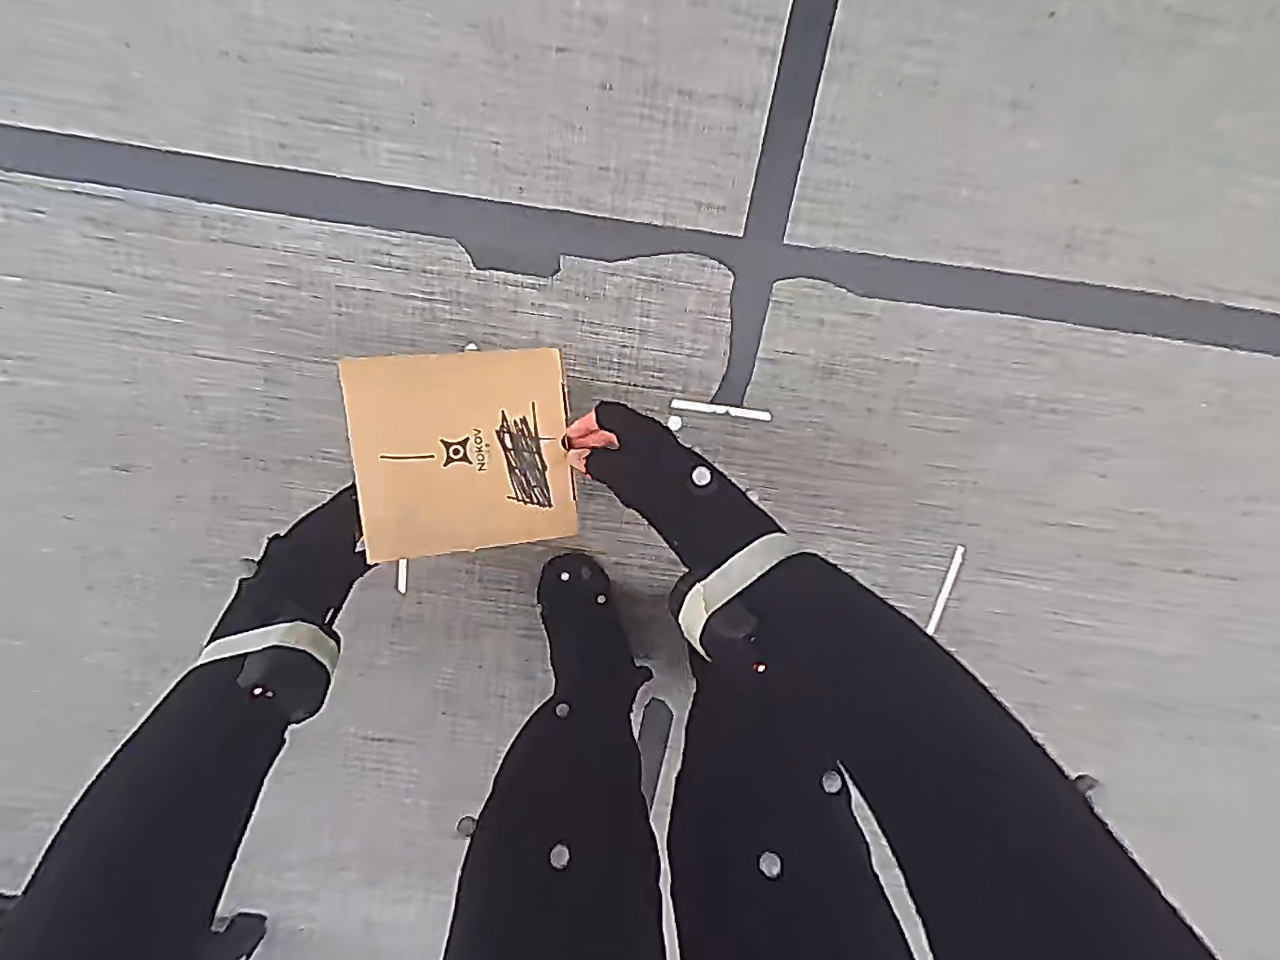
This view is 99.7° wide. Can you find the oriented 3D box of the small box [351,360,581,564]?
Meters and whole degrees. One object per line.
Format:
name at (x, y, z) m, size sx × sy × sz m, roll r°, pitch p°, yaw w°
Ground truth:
small box at (-0.164, -0.025, 0.538) m, size 0.179 × 0.176 × 0.168 m, roll -6°, pitch 96°, yaw -14°
